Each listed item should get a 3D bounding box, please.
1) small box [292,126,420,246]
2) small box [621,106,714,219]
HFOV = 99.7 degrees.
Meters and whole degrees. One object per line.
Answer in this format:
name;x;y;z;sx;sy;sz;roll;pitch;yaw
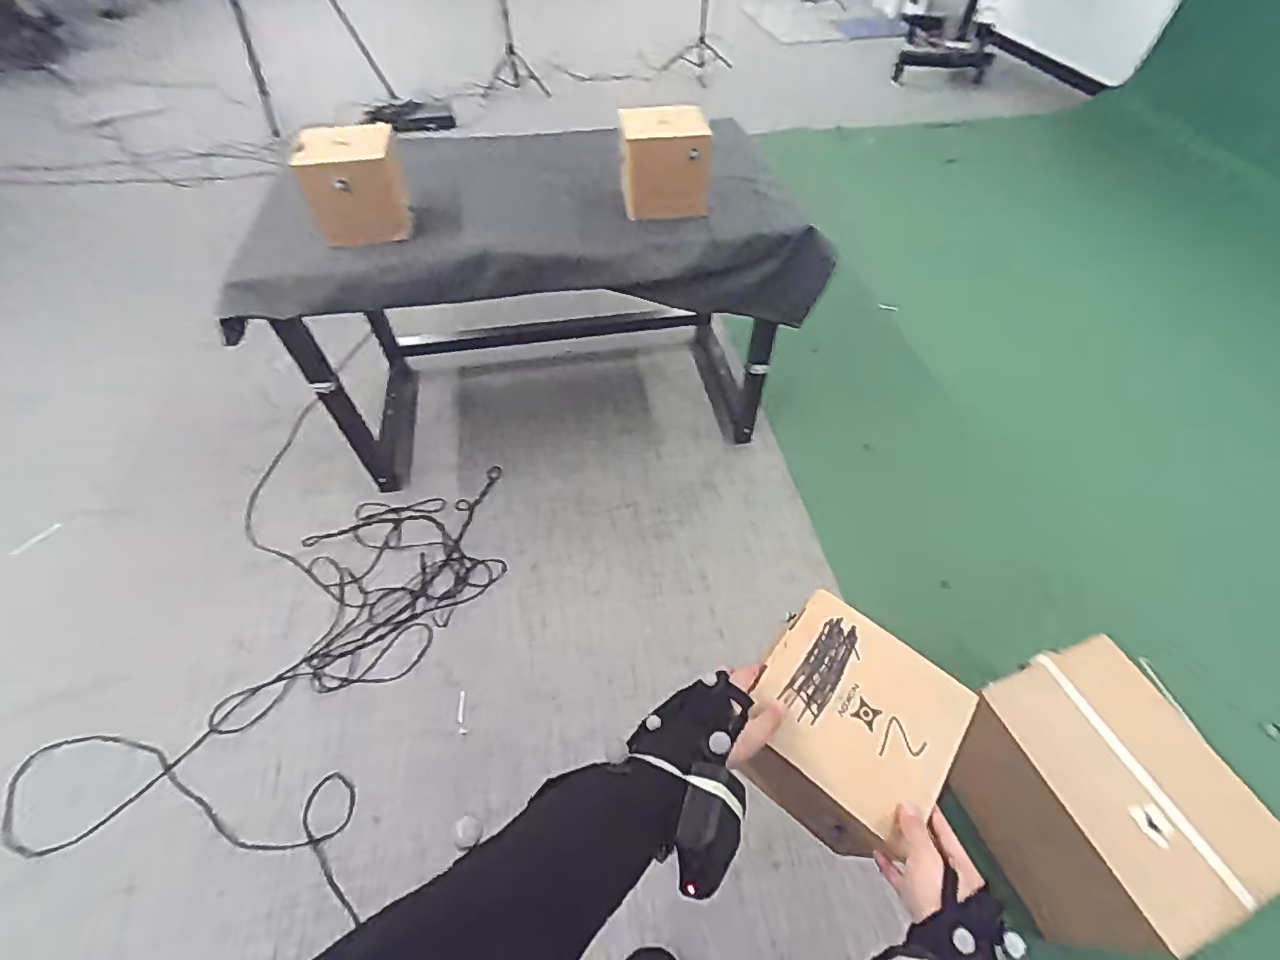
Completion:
small box;-0.578;-0.607;1.126;0.179;0.176;0.168;-9;54;-7
small box;0.056;-0.691;1.184;0.179;0.176;0.168;-6;52;-4
